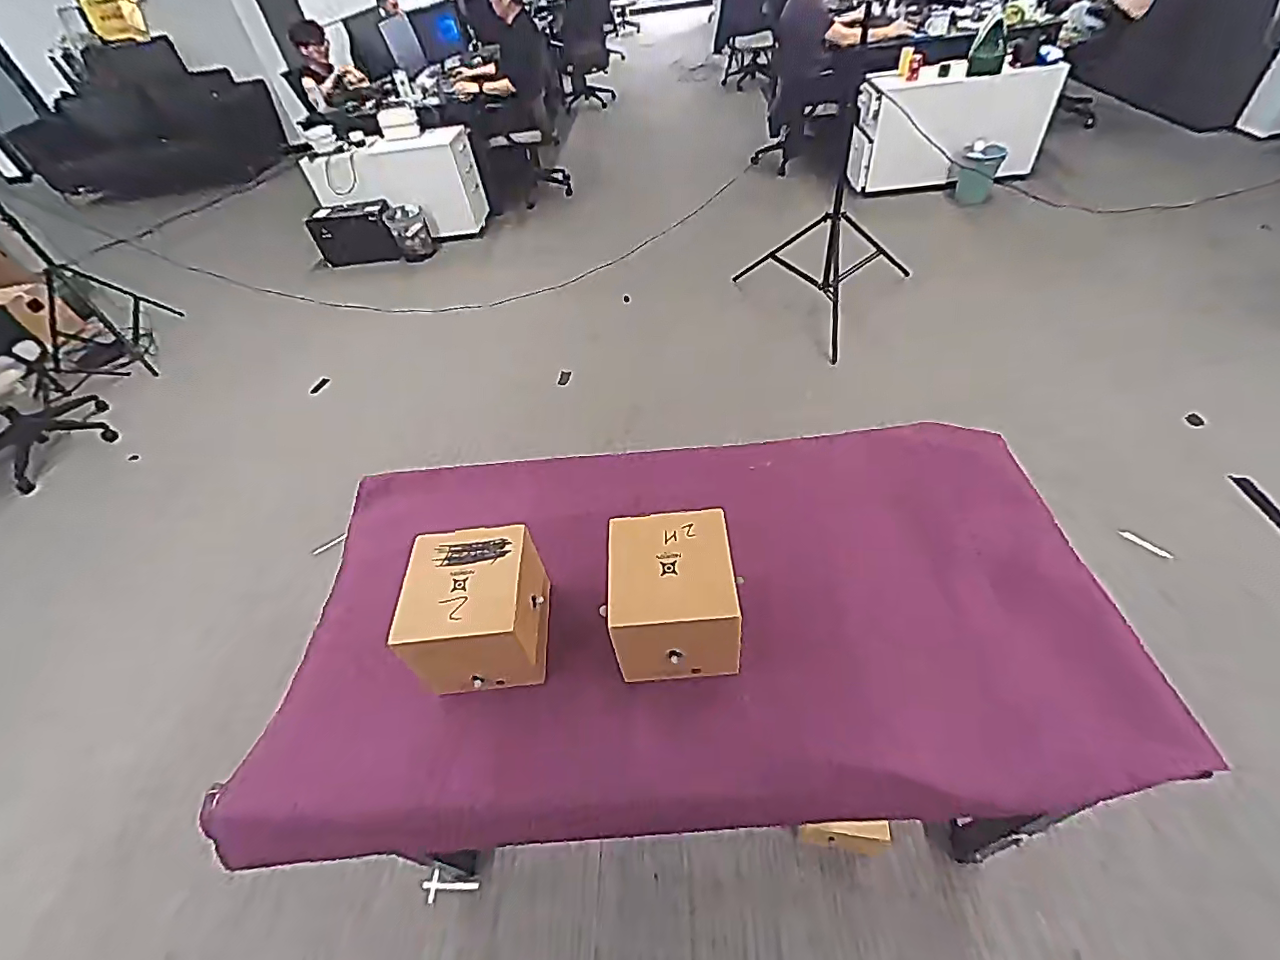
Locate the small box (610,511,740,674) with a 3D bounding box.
[{"bbox_3d":[0.051,0.168,0.781,0.168,0.176,0.179,-5,46,3],"label":"small box"}]

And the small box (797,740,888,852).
[{"bbox_3d":[0.446,0.714,1.216,0.168,0.176,0.179,2,47,11],"label":"small box"}]
